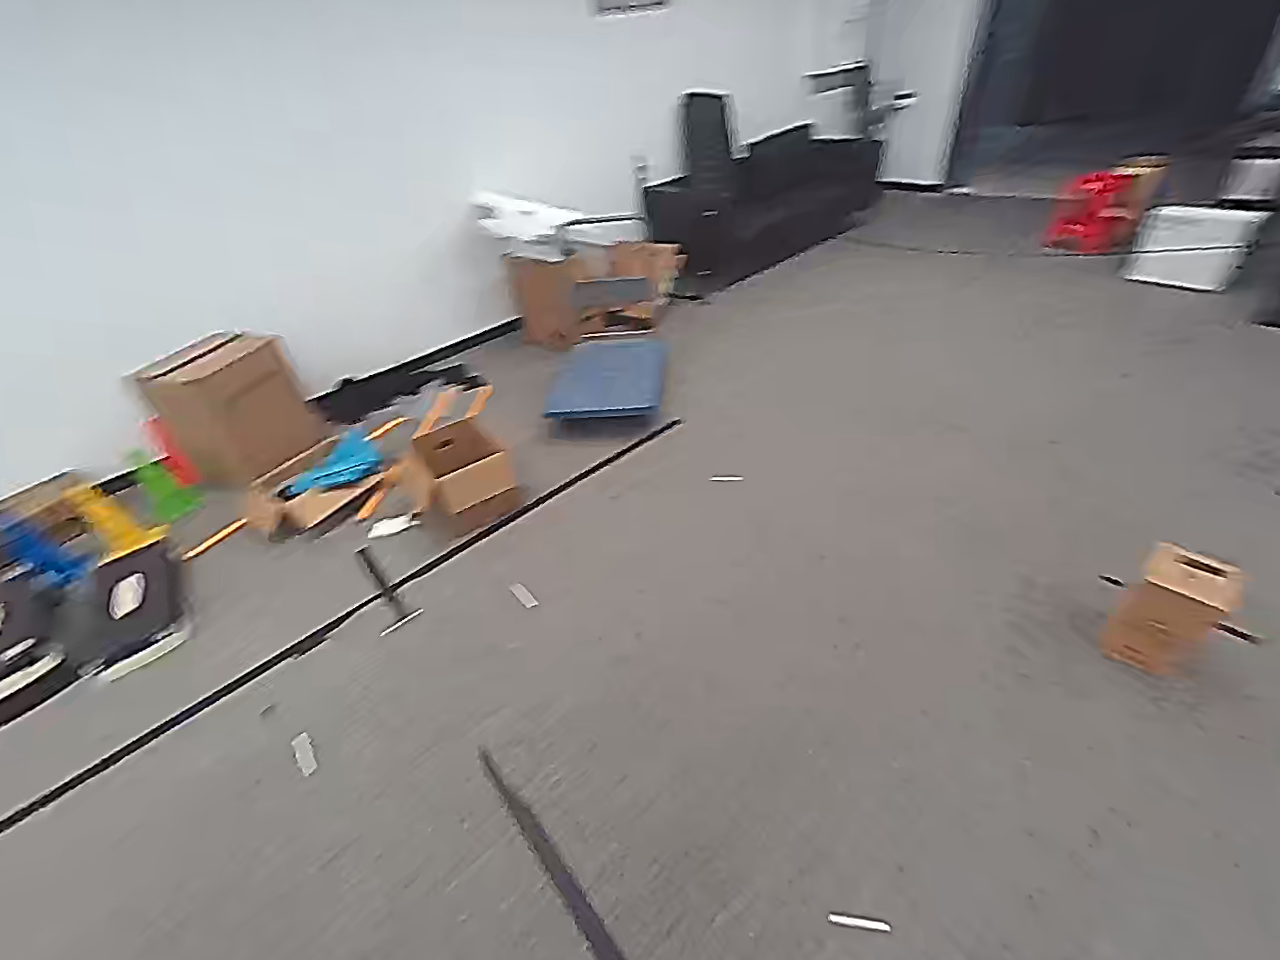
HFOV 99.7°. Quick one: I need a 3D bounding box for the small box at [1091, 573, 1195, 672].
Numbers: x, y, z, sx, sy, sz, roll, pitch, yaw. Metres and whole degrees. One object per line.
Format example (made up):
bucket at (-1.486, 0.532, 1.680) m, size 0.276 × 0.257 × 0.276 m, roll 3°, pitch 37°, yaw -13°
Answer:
small box at (1.440, 0.408, 1.555) m, size 0.168 × 0.176 × 0.179 m, roll 25°, pitch 49°, yaw 36°
